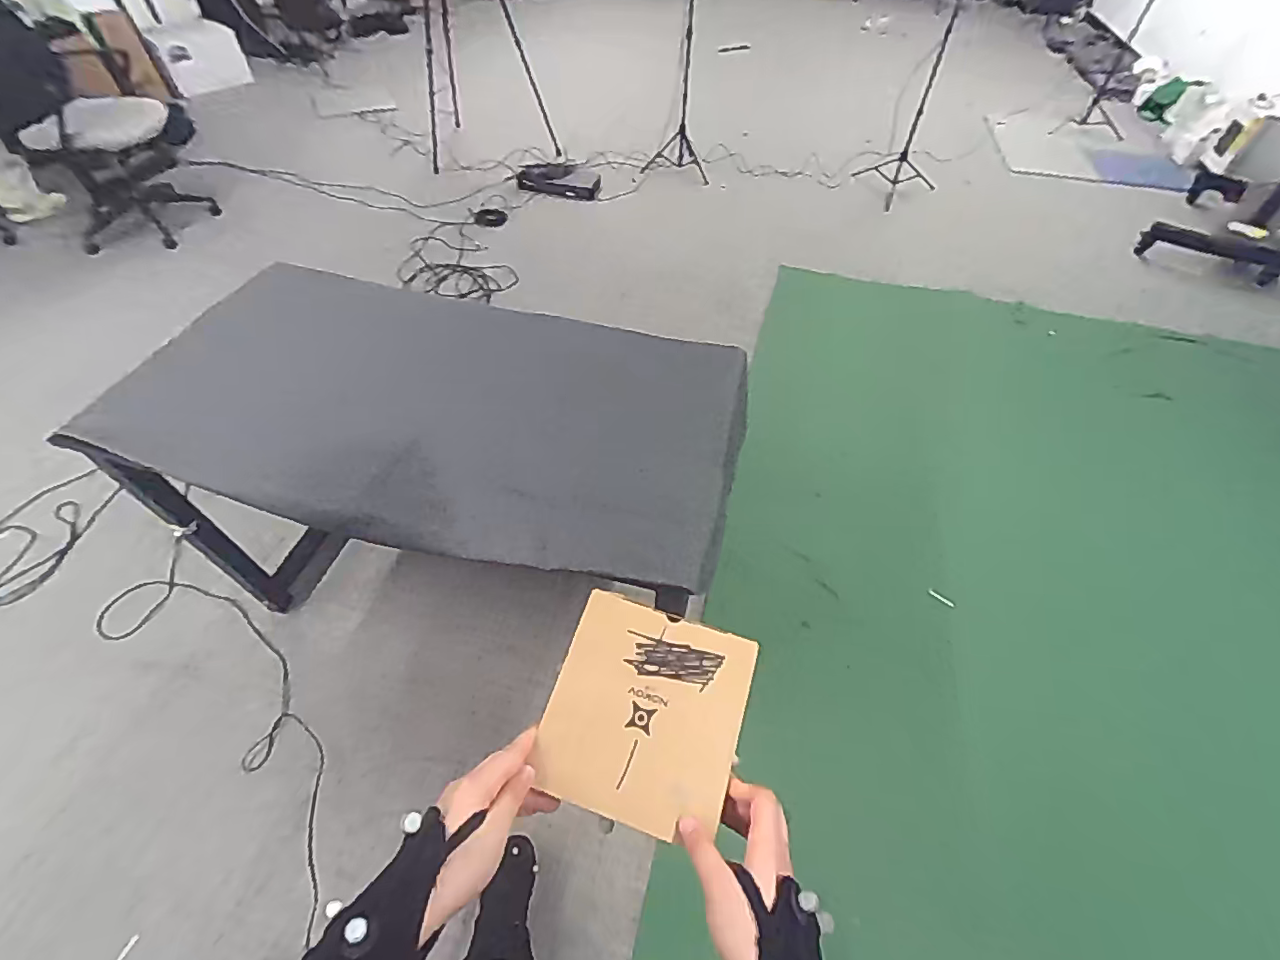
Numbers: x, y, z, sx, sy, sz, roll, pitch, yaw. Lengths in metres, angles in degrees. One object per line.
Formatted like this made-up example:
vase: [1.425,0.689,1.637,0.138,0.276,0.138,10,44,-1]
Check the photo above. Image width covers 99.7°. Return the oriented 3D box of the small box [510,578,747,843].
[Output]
small box: [-0.005,0.226,0.536,0.168,0.176,0.179,16,61,10]
